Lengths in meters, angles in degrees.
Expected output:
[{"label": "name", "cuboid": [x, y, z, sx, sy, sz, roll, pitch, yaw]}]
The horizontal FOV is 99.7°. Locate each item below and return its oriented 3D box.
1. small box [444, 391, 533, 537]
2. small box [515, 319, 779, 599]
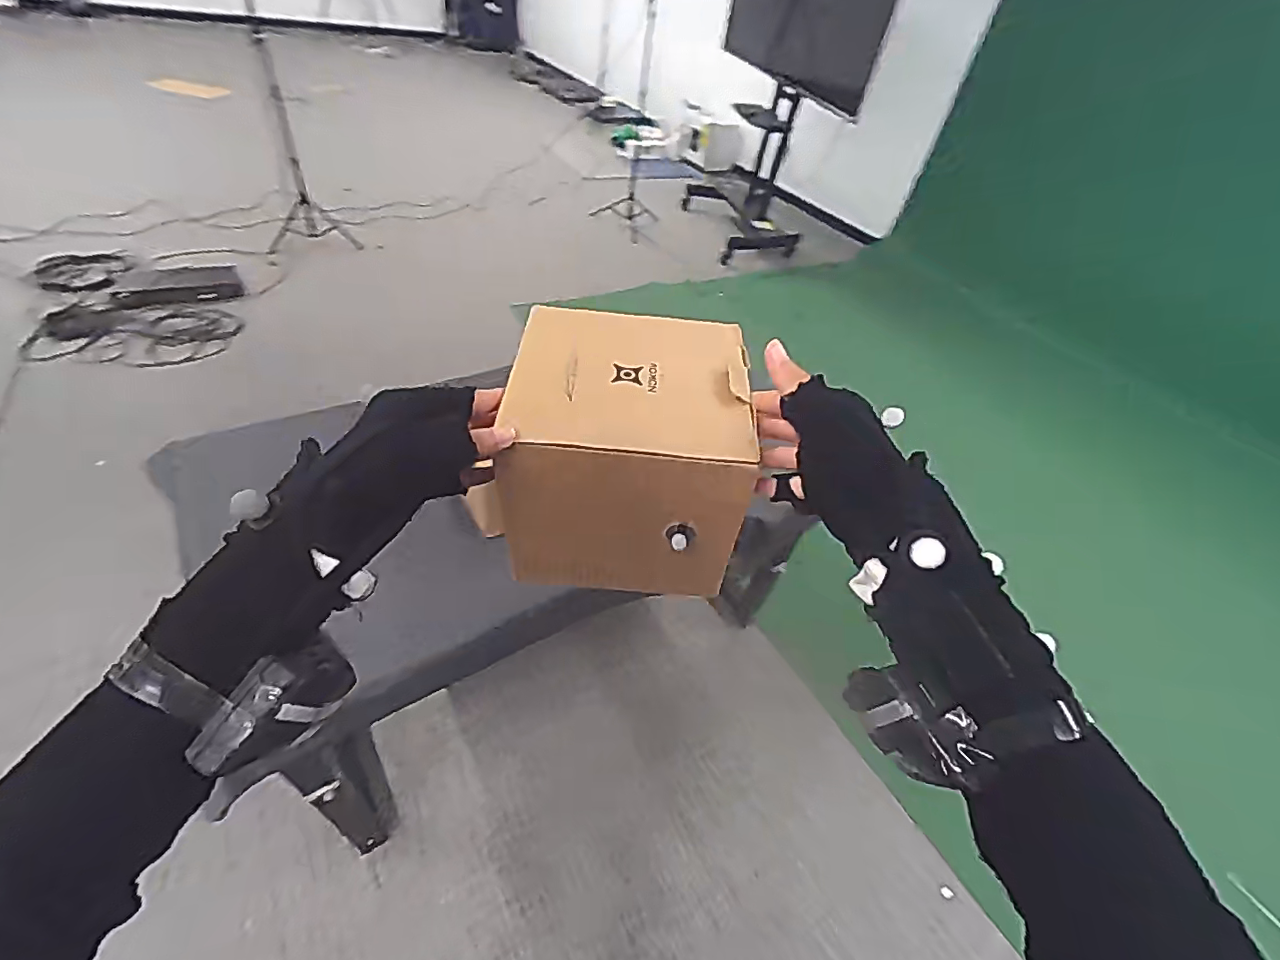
[{"label": "small box", "cuboid": [-0.221, -0.027, 0.948, 0.179, 0.176, 0.168, -21, 53, -29]}, {"label": "small box", "cuboid": [0.003, -0.013, 0.461, 0.179, 0.176, 0.168, 4, 47, -1]}]
